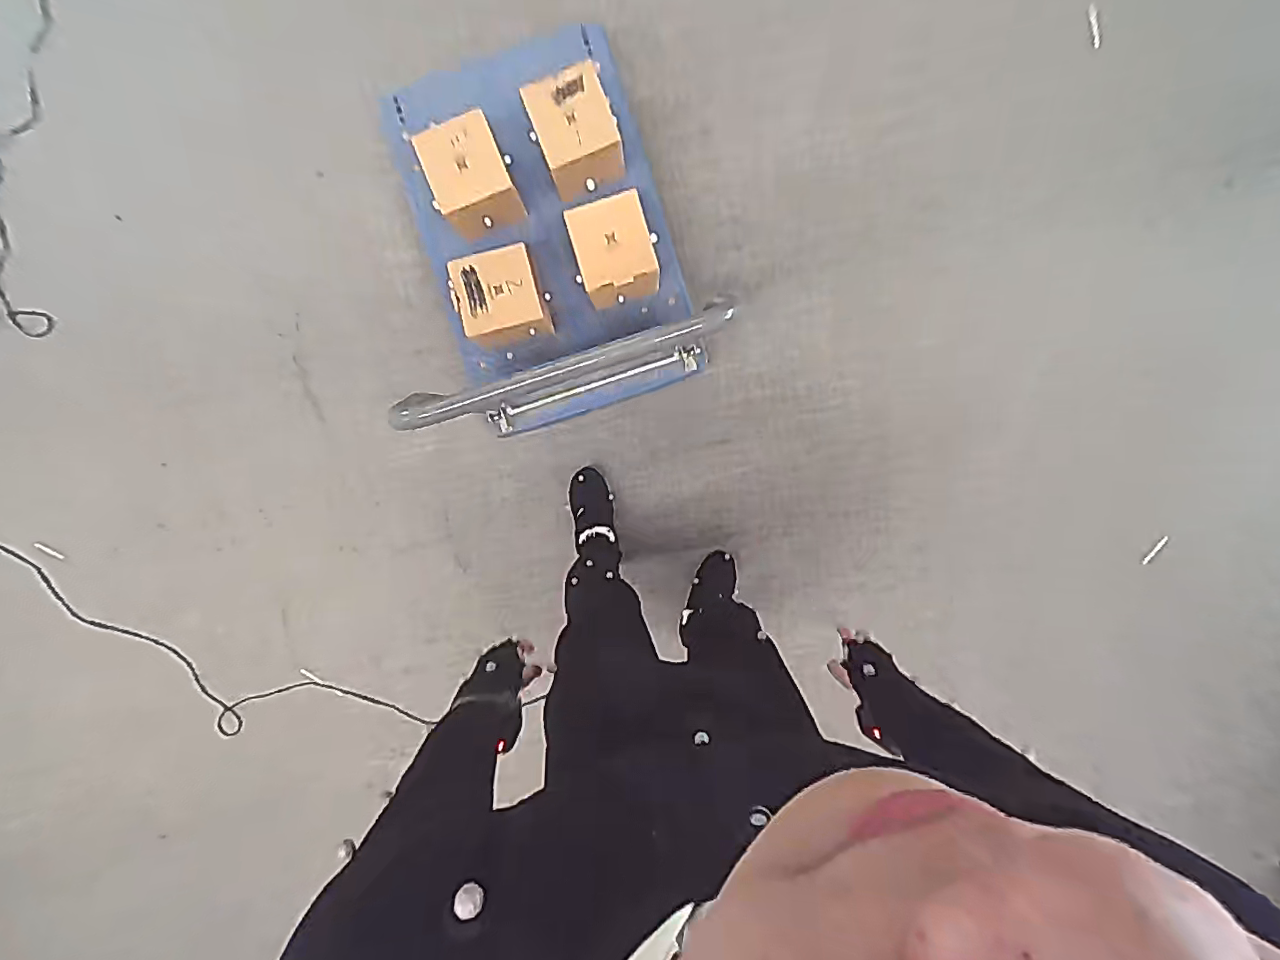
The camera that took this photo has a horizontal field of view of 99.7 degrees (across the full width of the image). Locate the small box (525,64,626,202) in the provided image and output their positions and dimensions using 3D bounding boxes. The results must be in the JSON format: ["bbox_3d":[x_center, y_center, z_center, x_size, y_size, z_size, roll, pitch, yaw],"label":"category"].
[{"bbox_3d":[-0.138,-0.770,1.218,0.168,0.176,0.179,-21,94,3],"label":"small box"}]

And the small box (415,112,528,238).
[{"bbox_3d":[-0.372,-0.677,1.229,0.168,0.176,0.179,-21,93,2],"label":"small box"}]

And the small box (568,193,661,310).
[{"bbox_3d":[-0.055,-0.513,1.235,0.168,0.176,0.179,-17,94,2],"label":"small box"}]
